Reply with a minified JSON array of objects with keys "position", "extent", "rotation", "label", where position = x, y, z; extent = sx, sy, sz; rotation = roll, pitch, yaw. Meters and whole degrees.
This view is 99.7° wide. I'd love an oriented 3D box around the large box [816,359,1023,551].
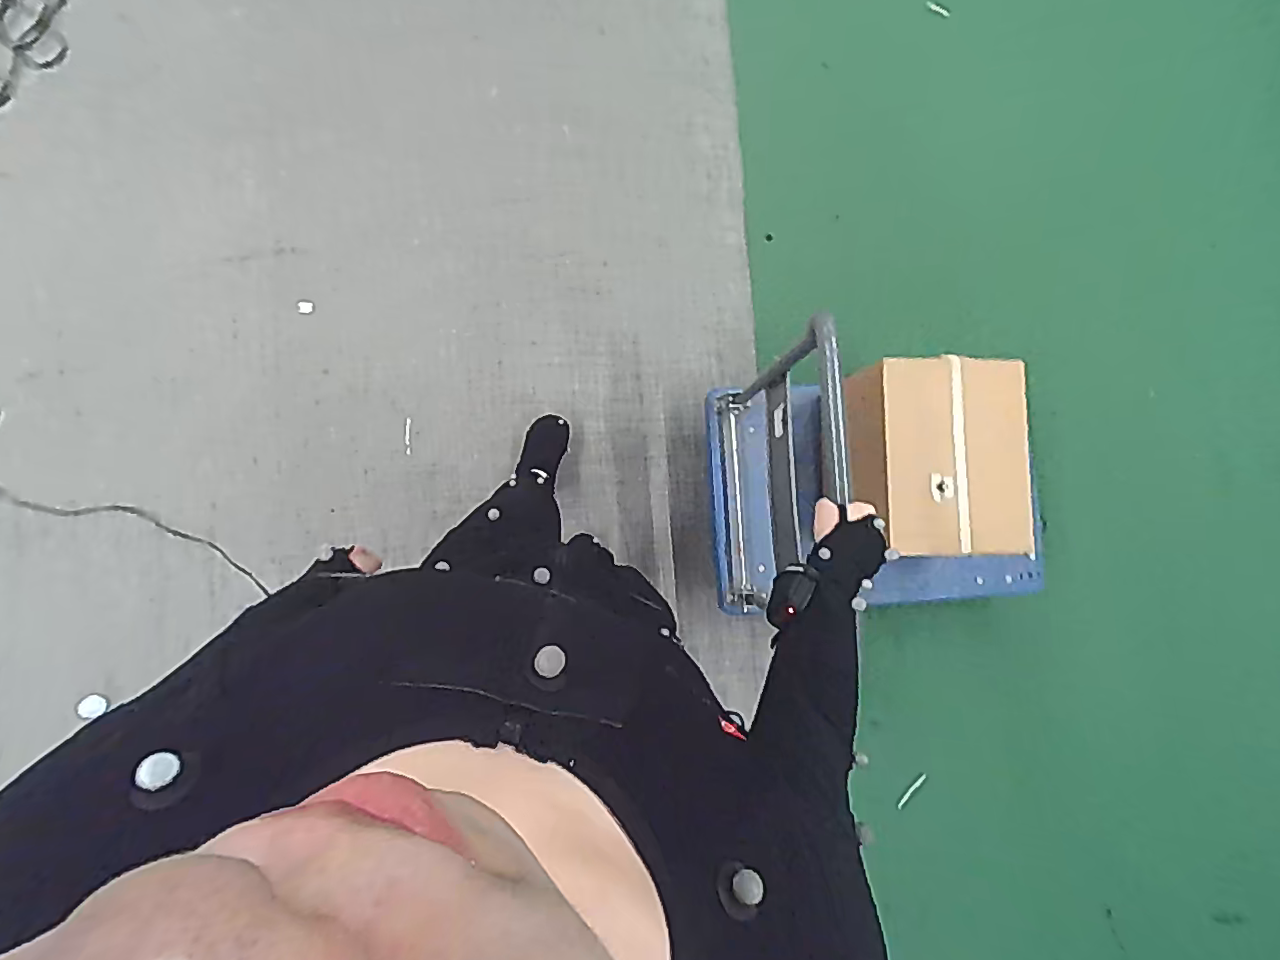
[{"position":[0.629,-0.048,1.271],"extent":[0.320,0.320,0.408],"rotation":[0,86,-5],"label":"large box"}]
